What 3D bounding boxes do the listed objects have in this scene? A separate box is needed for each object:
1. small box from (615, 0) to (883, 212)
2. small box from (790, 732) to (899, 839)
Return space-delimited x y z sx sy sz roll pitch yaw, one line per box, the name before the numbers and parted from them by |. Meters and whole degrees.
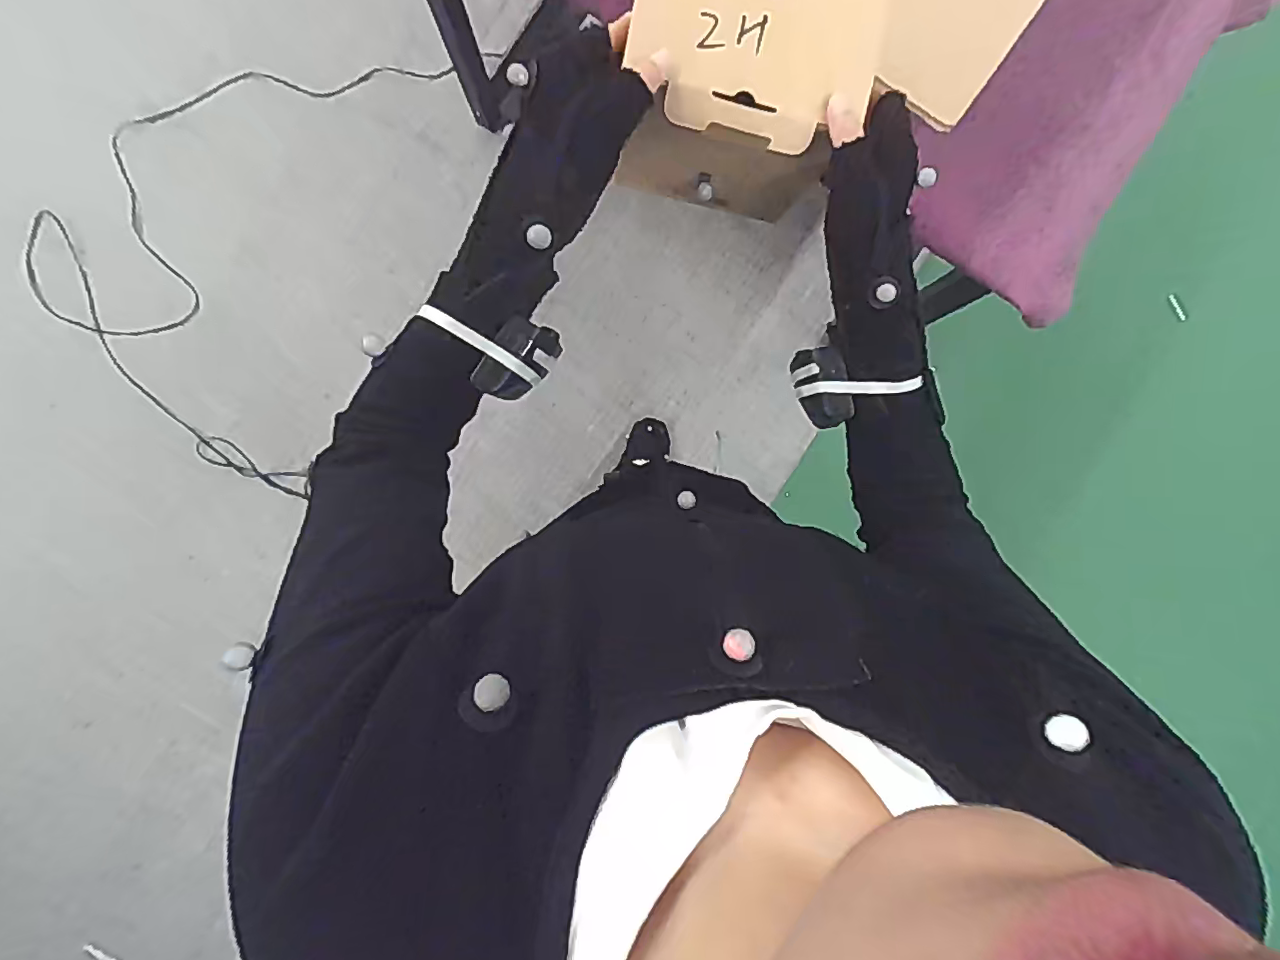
small box | 0.075 -0.348 0.429 0.168 0.176 0.179 11 95 -6
small box | 0.523 0.794 1.410 0.179 0.176 0.168 35 89 -2
